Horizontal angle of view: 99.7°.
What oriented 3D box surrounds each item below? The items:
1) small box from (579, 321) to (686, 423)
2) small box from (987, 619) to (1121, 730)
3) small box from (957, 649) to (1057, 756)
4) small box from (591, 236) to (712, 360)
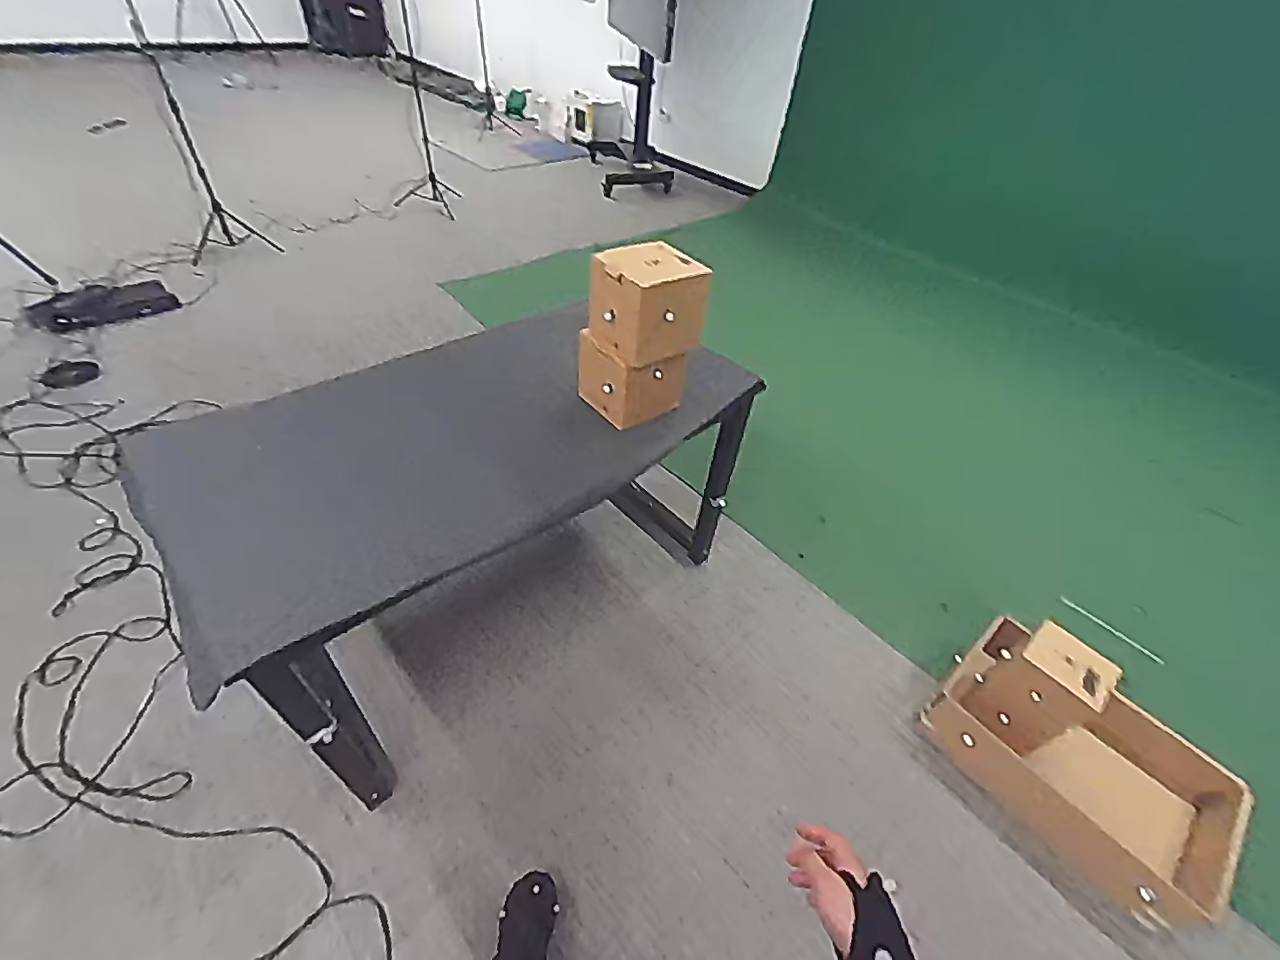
[{"bbox_3d":[-0.018,-0.250,1.194,0.179,0.176,0.168,-26,54,-31],"label":"small box"},{"bbox_3d":[1.008,0.484,1.328,0.168,0.176,0.179,-28,55,-30],"label":"small box"},{"bbox_3d":[0.995,0.597,1.447,0.168,0.176,0.179,-30,57,-30],"label":"small box"},{"bbox_3d":[0.017,-0.361,1.078,0.179,0.176,0.168,-24,53,-28],"label":"small box"}]
